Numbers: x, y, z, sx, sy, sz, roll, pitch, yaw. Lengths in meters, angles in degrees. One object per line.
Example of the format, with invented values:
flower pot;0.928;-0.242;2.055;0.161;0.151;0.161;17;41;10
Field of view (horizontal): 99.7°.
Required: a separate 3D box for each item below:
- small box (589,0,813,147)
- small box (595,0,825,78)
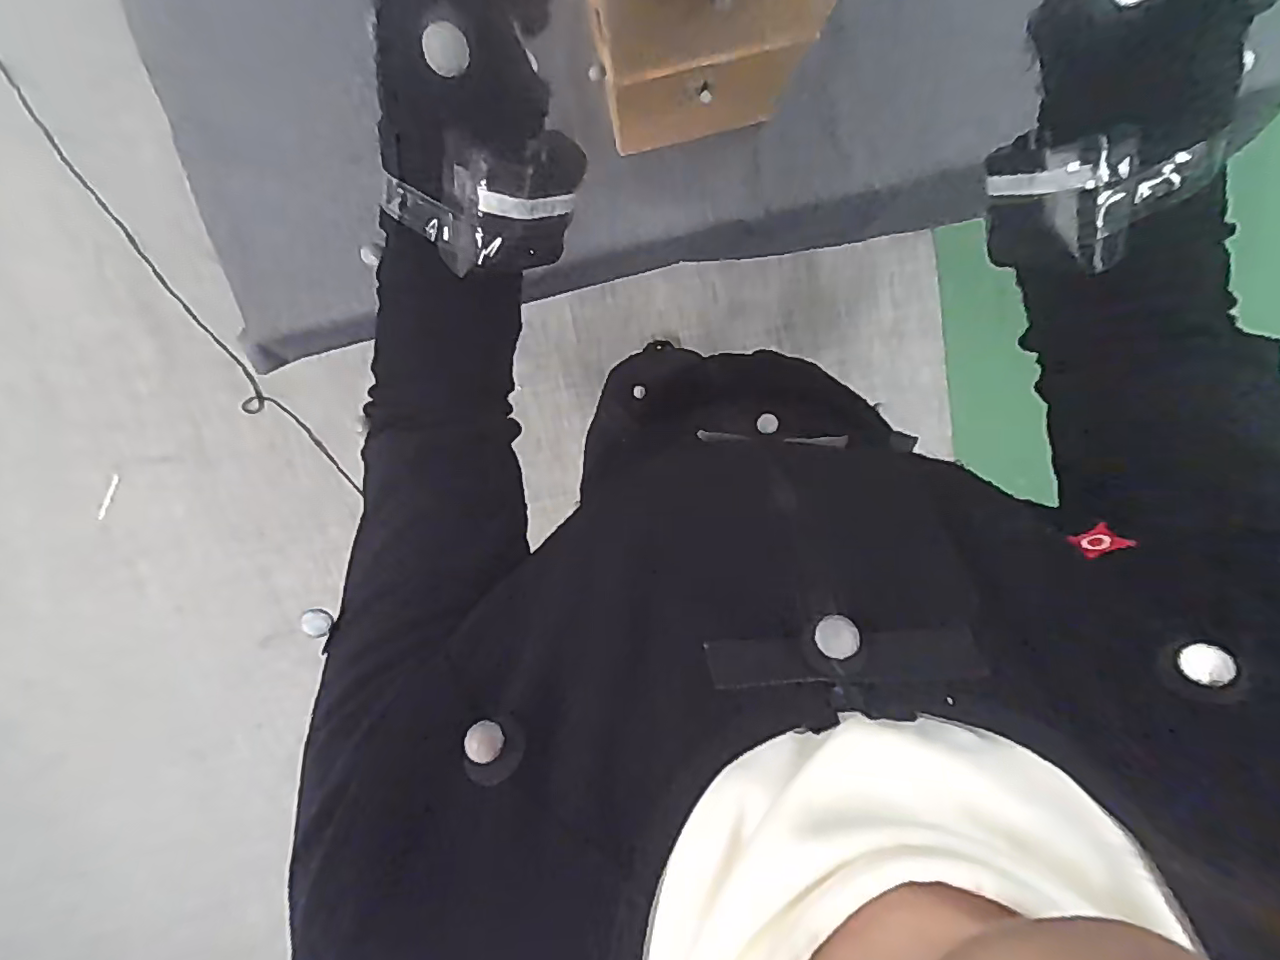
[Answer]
small box;0.042;-0.441;0.506;0.179;0.176;0.168;-12;104;2
small box;0.045;-0.403;0.346;0.179;0.176;0.168;-14;104;3
